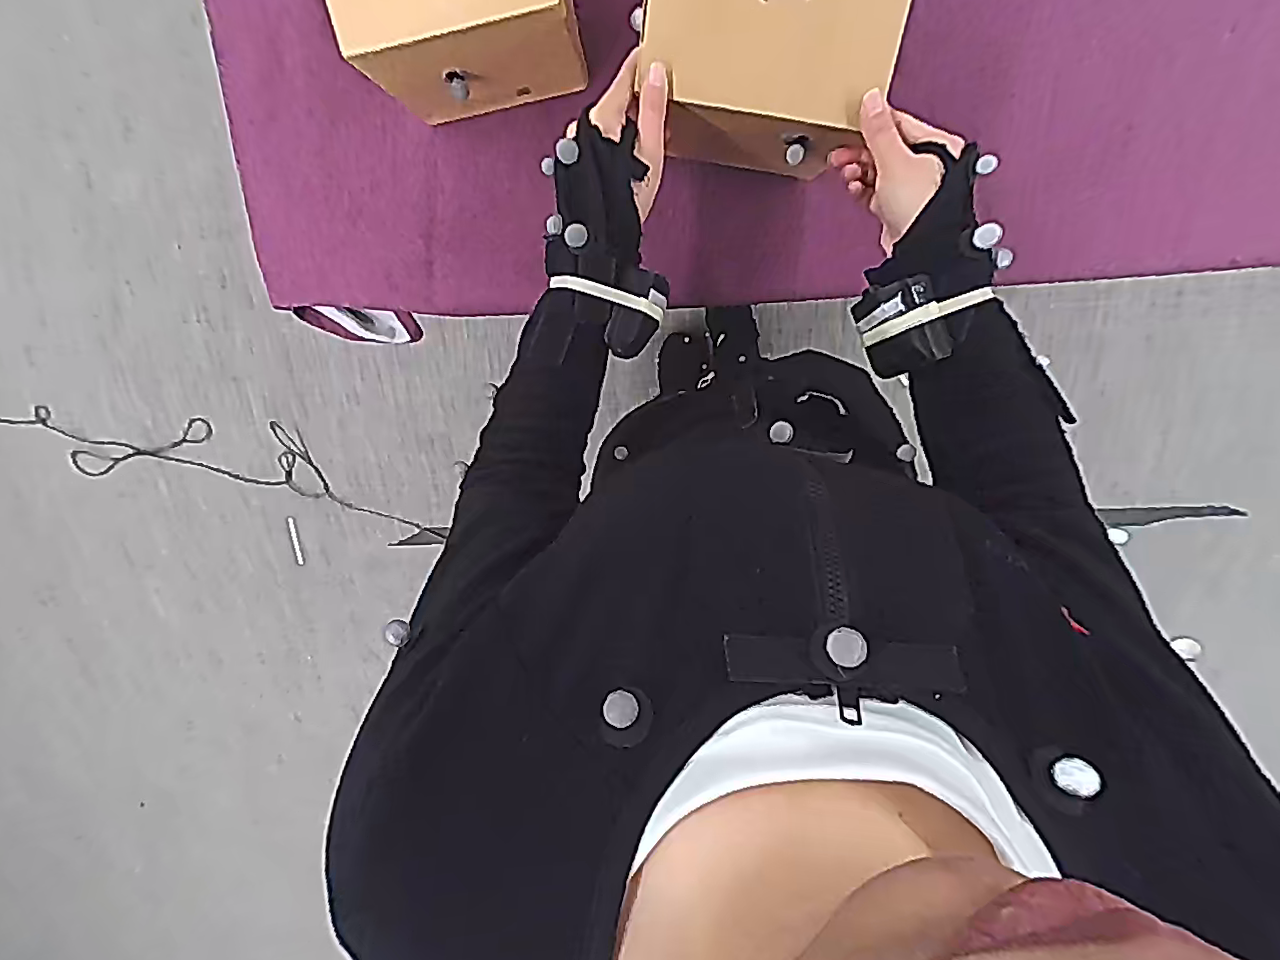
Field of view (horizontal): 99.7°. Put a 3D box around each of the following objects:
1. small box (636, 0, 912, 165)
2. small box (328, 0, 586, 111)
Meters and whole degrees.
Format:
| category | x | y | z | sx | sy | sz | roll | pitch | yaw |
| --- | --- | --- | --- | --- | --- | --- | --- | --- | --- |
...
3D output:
| category | x | y | z | sx | sy | sz | roll | pitch | yaw |
| --- | --- | --- | --- | --- | --- | --- | --- | --- | --- |
| small box | 0.096 | -0.363 | 0.422 | 0.179 | 0.176 | 0.168 | 8 | 109 | -1 |
| small box | -0.148 | -0.429 | 0.436 | 0.168 | 0.176 | 0.179 | -10 | 107 | 6 |
